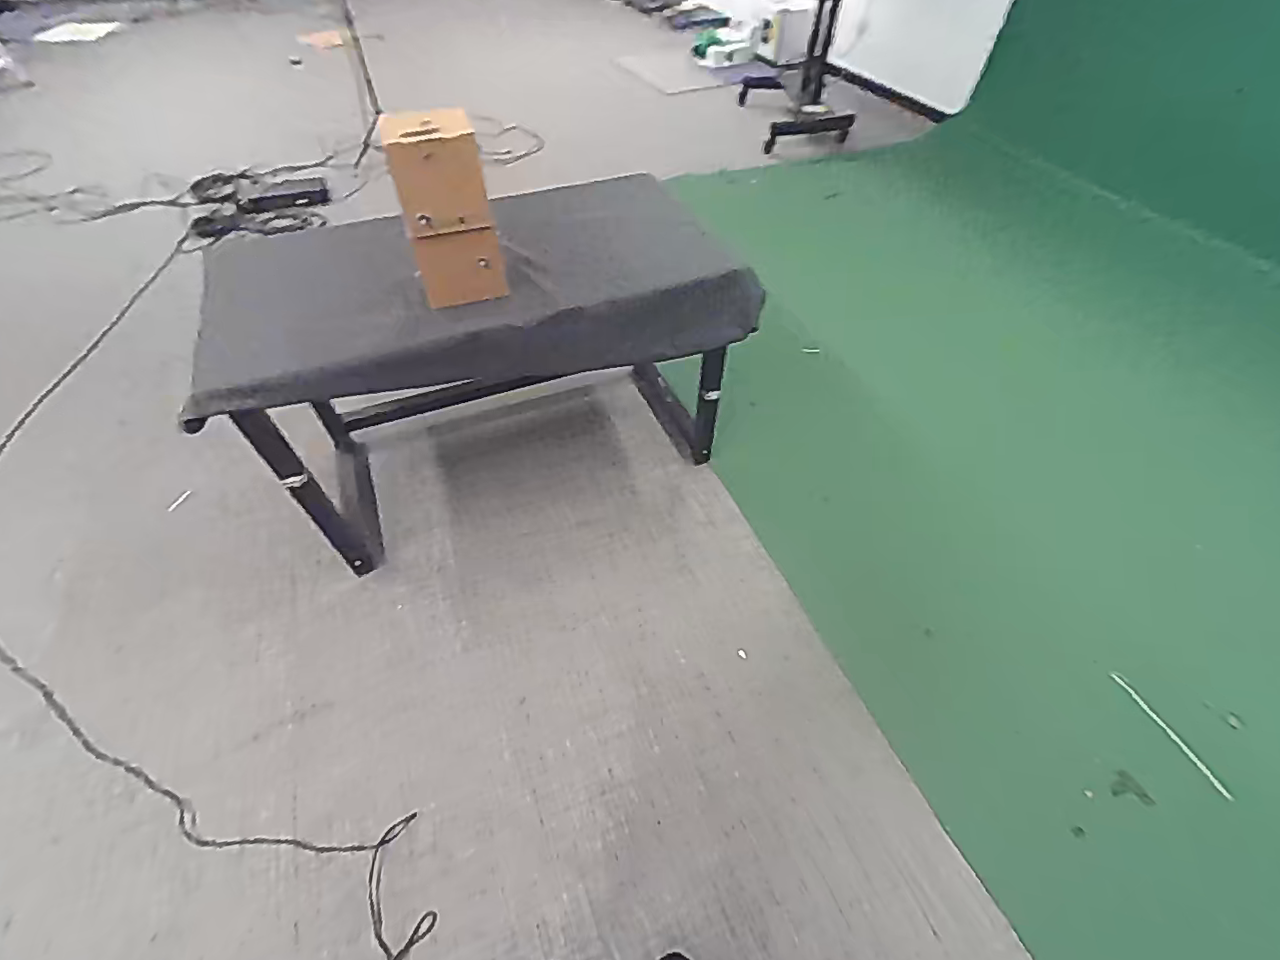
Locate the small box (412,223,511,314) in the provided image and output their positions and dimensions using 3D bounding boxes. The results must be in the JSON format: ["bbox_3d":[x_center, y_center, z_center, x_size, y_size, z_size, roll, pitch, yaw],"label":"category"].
[{"bbox_3d":[-0.398,-0.501,1.220,0.179,0.176,0.168,-16,51,-12],"label":"small box"}]

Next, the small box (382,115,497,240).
[{"bbox_3d":[-0.399,-0.603,1.092,0.168,0.176,0.179,-18,53,-14],"label":"small box"}]
